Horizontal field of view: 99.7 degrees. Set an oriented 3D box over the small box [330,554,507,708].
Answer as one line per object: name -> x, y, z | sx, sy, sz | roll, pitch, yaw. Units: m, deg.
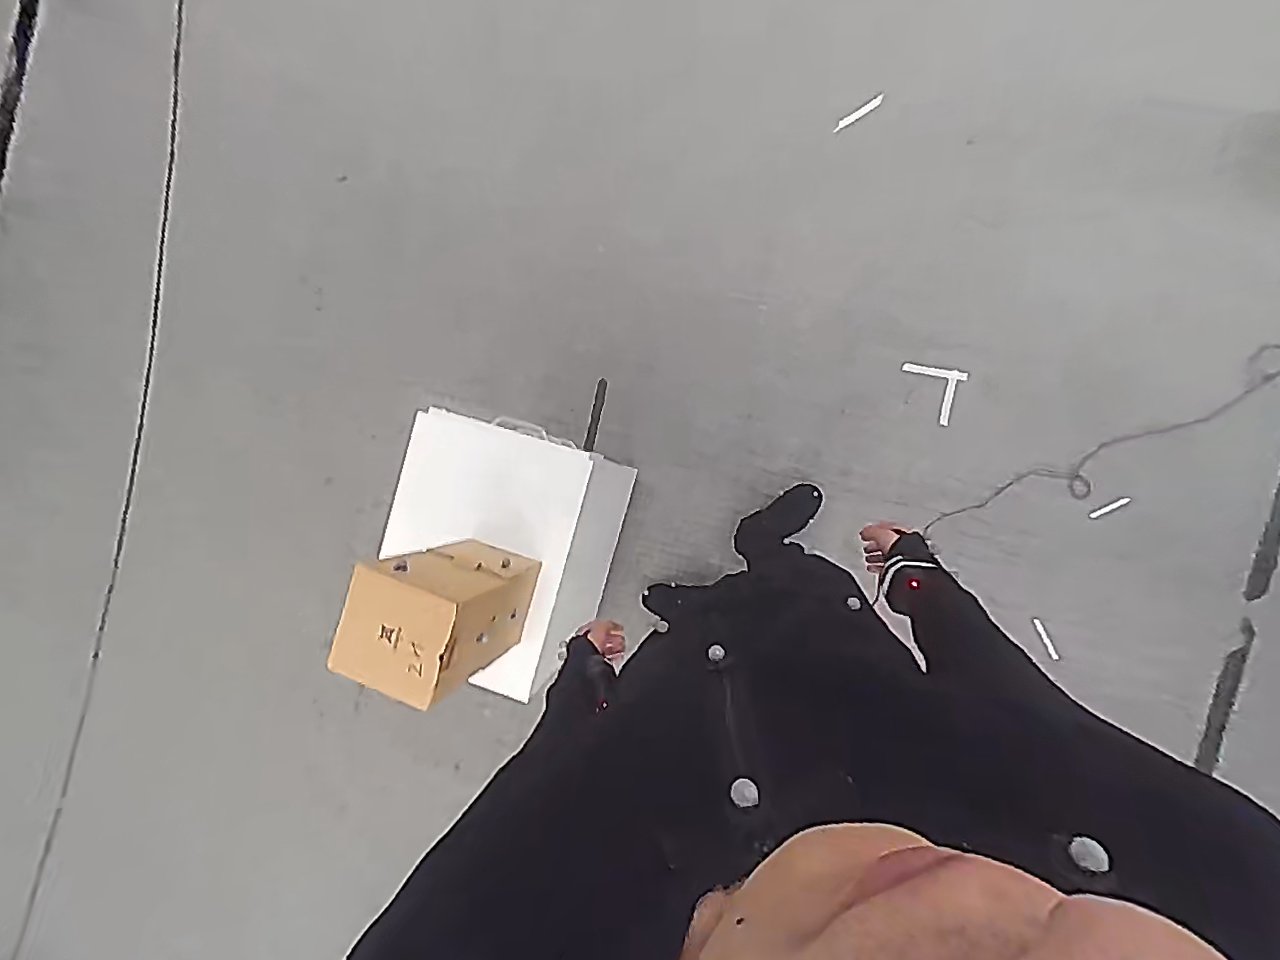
small box -> -0.342, 0.225, 0.862 | 0.179, 0.176, 0.168 | 18, 94, 9
